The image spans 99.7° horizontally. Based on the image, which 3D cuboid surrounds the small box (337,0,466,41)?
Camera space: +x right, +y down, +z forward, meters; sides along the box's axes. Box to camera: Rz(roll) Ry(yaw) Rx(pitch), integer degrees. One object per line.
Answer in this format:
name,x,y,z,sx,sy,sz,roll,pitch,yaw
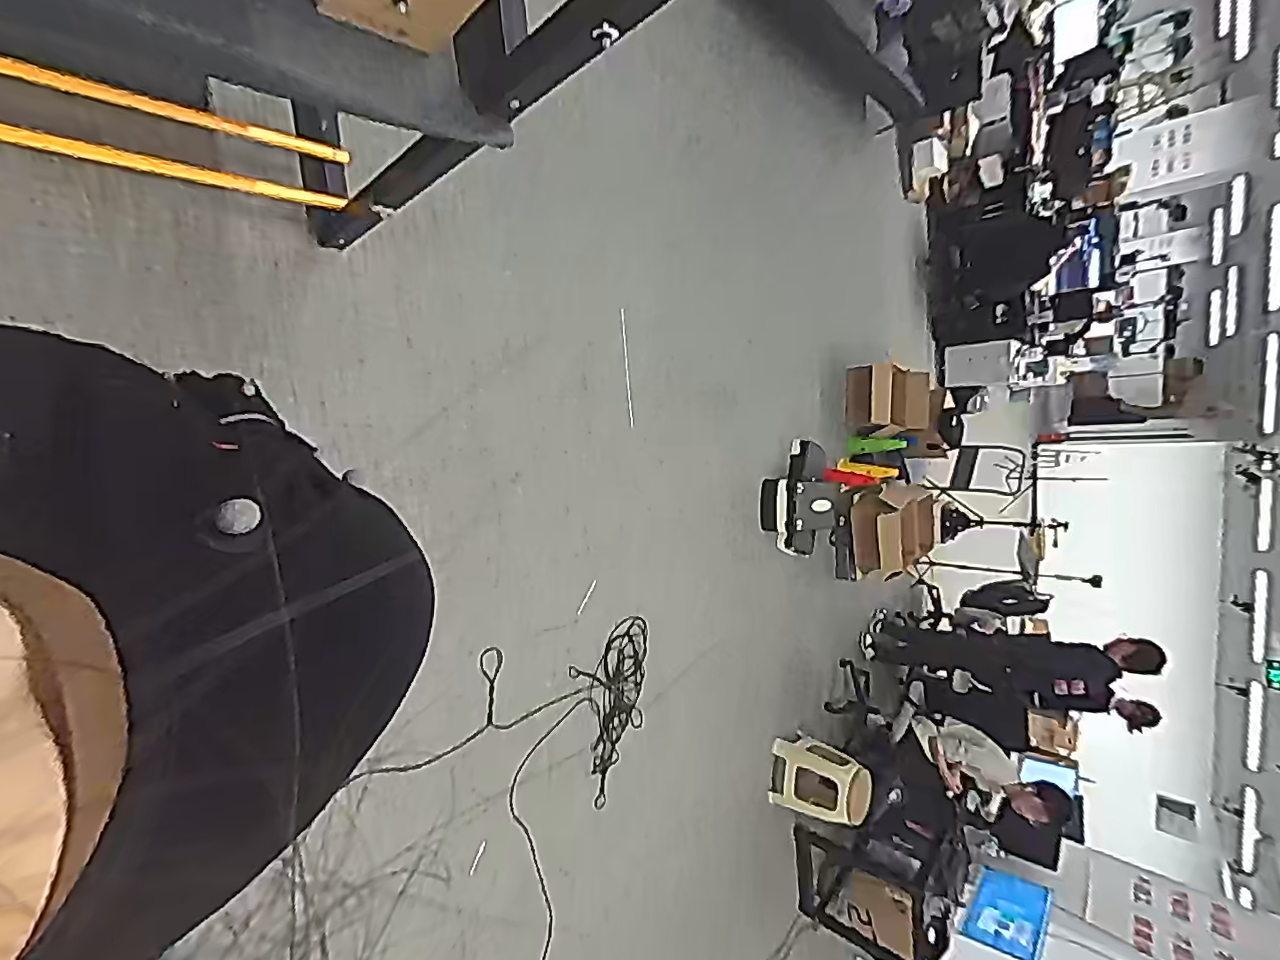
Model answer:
small box,-0.317,-0.719,0.692,0.168,0.176,0.179,-17,104,-46
